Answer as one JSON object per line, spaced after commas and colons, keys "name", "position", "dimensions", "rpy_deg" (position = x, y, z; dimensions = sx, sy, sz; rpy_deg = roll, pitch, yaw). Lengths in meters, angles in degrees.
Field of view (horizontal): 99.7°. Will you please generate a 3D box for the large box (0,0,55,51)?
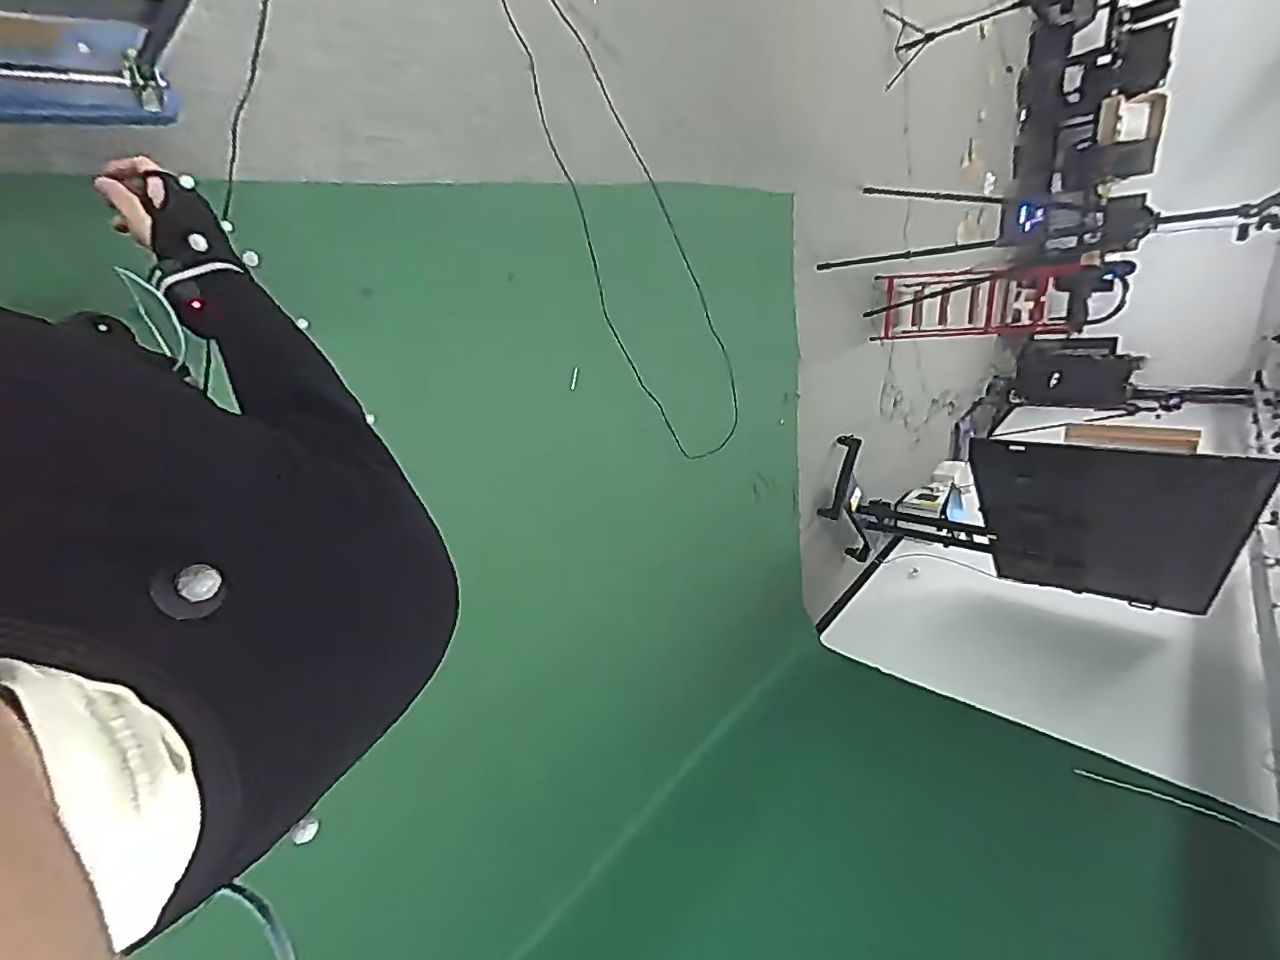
{"name": "large box", "position": [-1.059, -0.857, 0.687], "dimensions": [0.320, 0.320, 0.408], "rpy_deg": [-28, 117, -41]}
